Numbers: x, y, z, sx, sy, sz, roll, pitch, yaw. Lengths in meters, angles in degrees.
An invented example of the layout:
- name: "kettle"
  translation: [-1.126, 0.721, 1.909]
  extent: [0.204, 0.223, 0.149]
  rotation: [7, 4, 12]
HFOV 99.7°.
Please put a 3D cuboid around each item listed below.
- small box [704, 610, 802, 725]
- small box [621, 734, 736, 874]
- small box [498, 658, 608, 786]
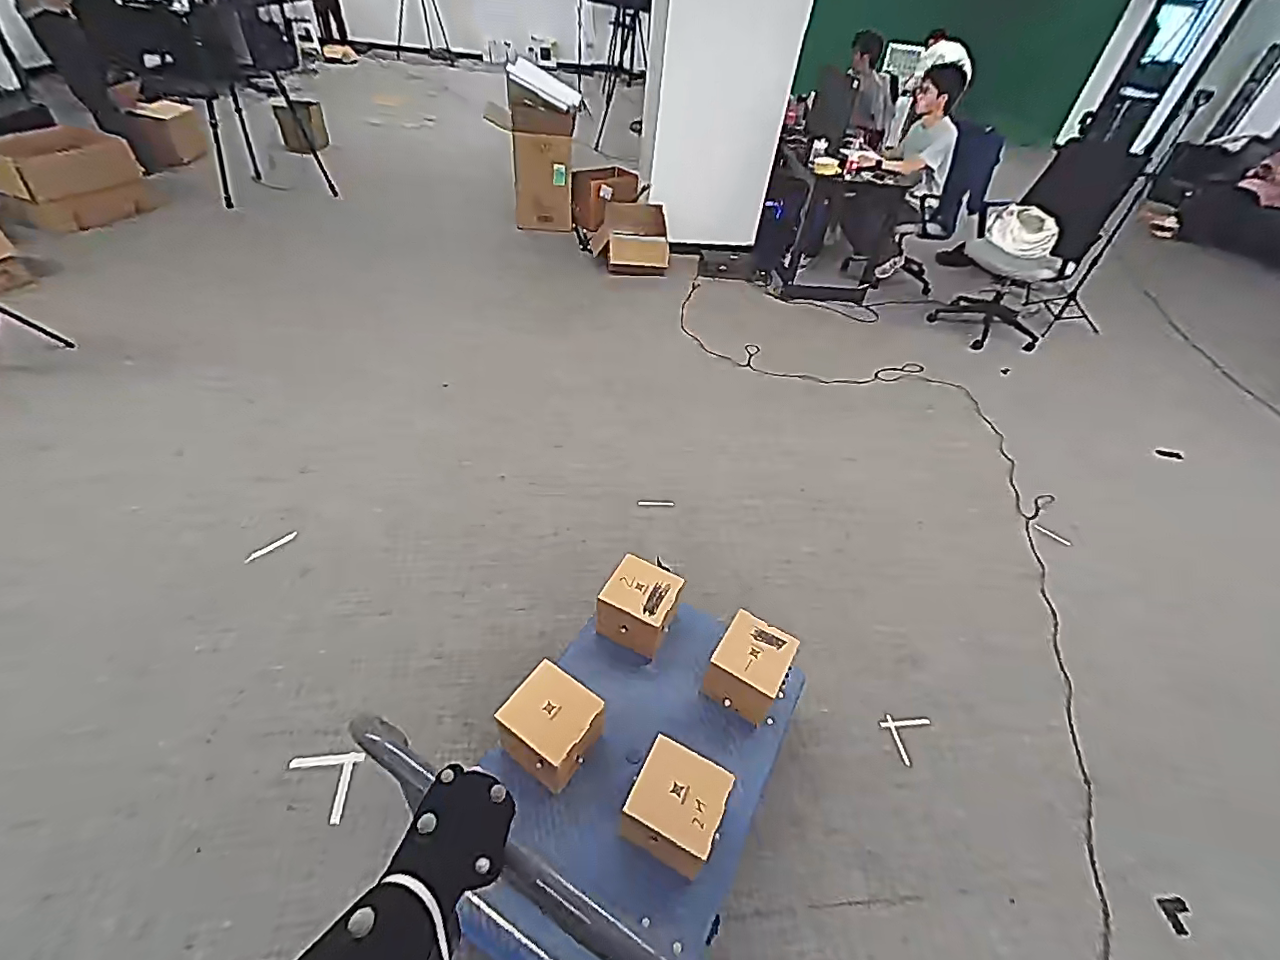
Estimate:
- name: "small box"
  translation: [0.274, 0.467, 1.345]
  extent: [0.168, 0.176, 0.179]
  rotation: [27, 48, 20]
- name: "small box"
  translation: [0.072, 0.668, 1.109]
  extent: [0.179, 0.176, 0.168]
  rotation: [24, 46, 16]
- name: "small box"
  translation: [-0.194, 0.542, 1.204]
  extent: [0.179, 0.176, 0.168]
  rotation: [30, 47, 19]
